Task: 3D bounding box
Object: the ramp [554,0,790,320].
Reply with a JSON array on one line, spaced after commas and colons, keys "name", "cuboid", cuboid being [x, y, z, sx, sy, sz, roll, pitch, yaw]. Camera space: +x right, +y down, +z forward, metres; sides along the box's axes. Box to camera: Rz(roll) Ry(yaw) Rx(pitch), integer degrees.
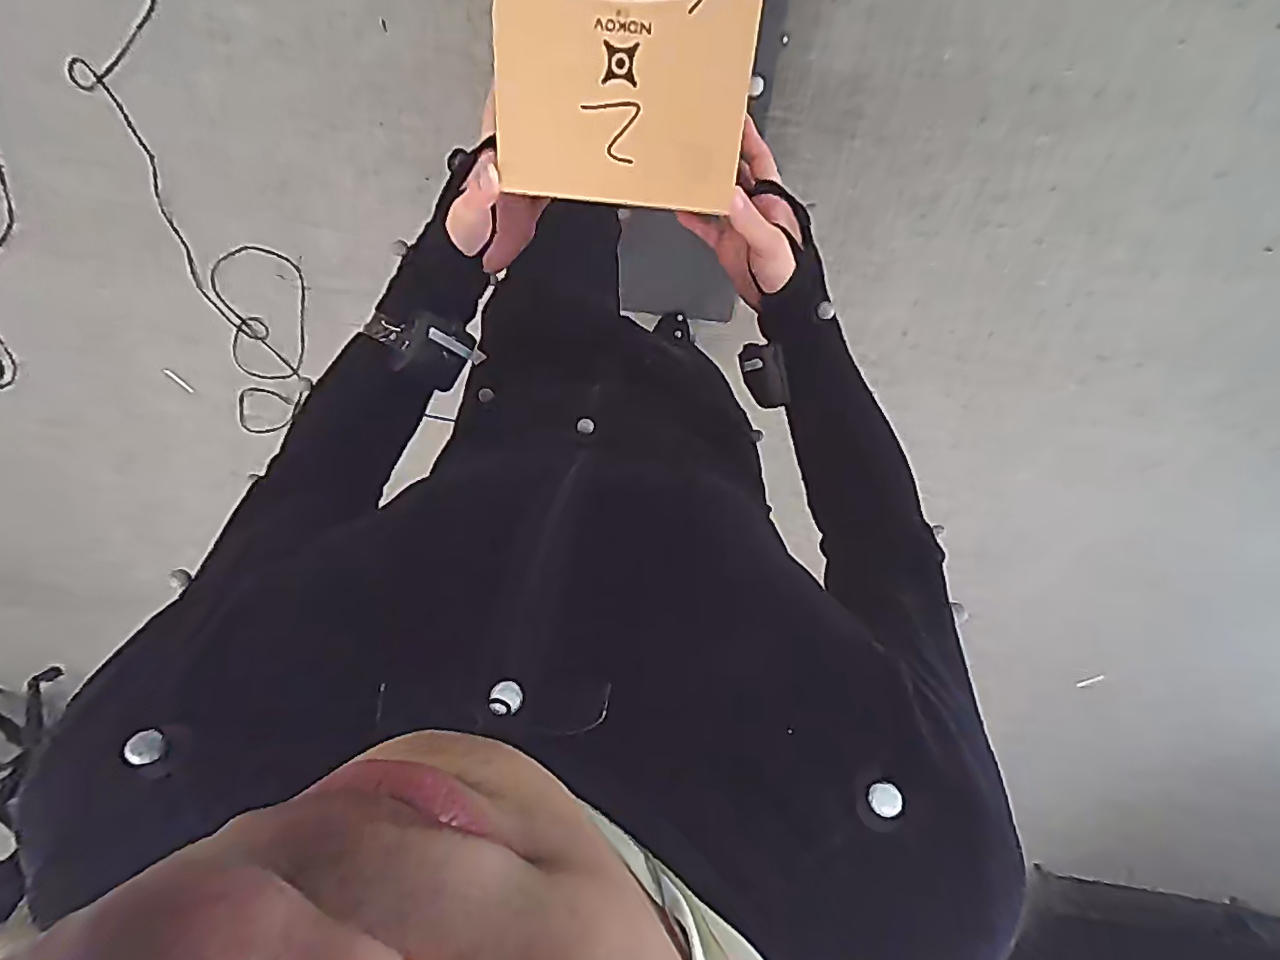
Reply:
[{"name": "ramp", "cuboid": [0.052, -0.868, 1.196, 0.509, 0.206, 0.991, 5, 115, 2]}]
